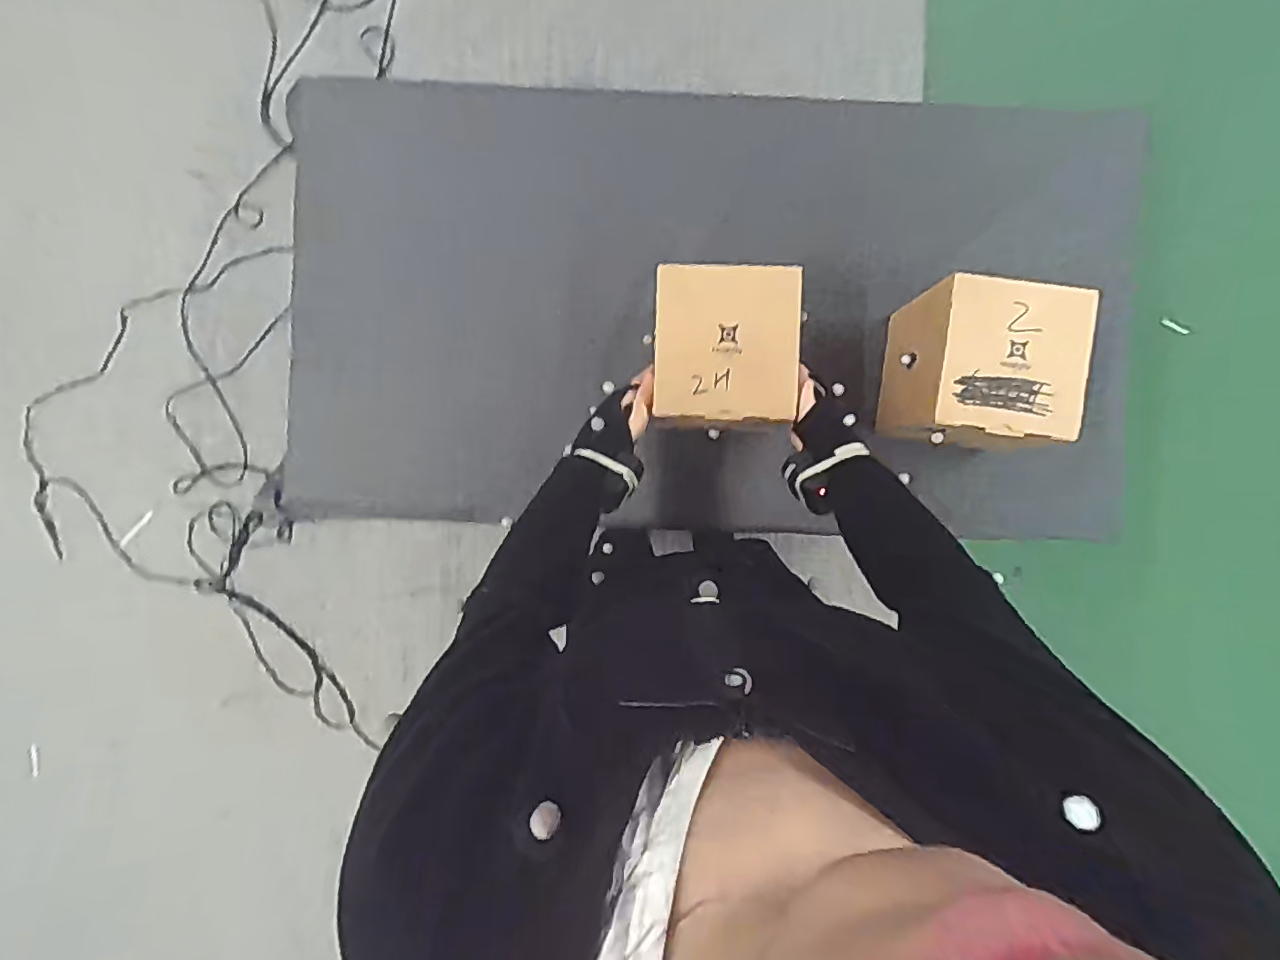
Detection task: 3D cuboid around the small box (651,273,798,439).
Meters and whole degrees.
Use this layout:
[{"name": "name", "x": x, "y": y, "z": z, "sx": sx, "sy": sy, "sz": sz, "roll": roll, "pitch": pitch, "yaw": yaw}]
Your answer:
[{"name": "small box", "x": 0.100, "y": -0.150, "z": 0.702, "sx": 0.168, "sy": 0.176, "sz": 0.179, "roll": 2, "pitch": 90, "yaw": 3}]
